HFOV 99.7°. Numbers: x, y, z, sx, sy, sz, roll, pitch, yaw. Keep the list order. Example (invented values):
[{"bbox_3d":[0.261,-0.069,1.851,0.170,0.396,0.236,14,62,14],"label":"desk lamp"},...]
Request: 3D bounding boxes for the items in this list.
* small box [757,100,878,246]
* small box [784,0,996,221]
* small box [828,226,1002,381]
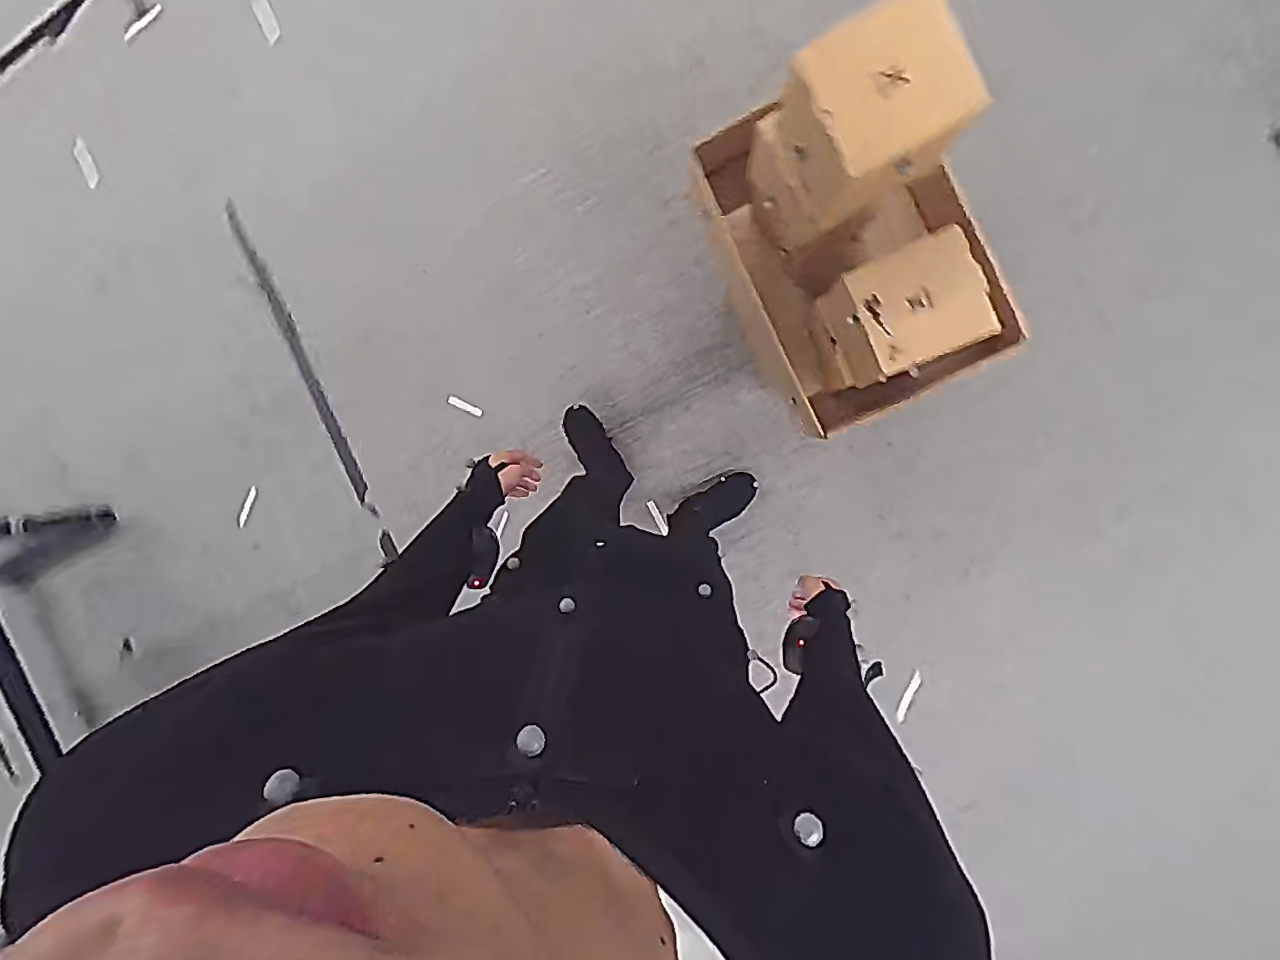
[{"bbox_3d":[0.307,-0.516,0.875,0.179,0.176,0.168,-29,92,9],"label":"small box"},{"bbox_3d":[0.312,-0.481,0.714,0.179,0.176,0.168,-26,93,9],"label":"small box"},{"bbox_3d":[0.430,-0.271,0.875,0.179,0.176,0.168,-21,91,8],"label":"small box"}]
